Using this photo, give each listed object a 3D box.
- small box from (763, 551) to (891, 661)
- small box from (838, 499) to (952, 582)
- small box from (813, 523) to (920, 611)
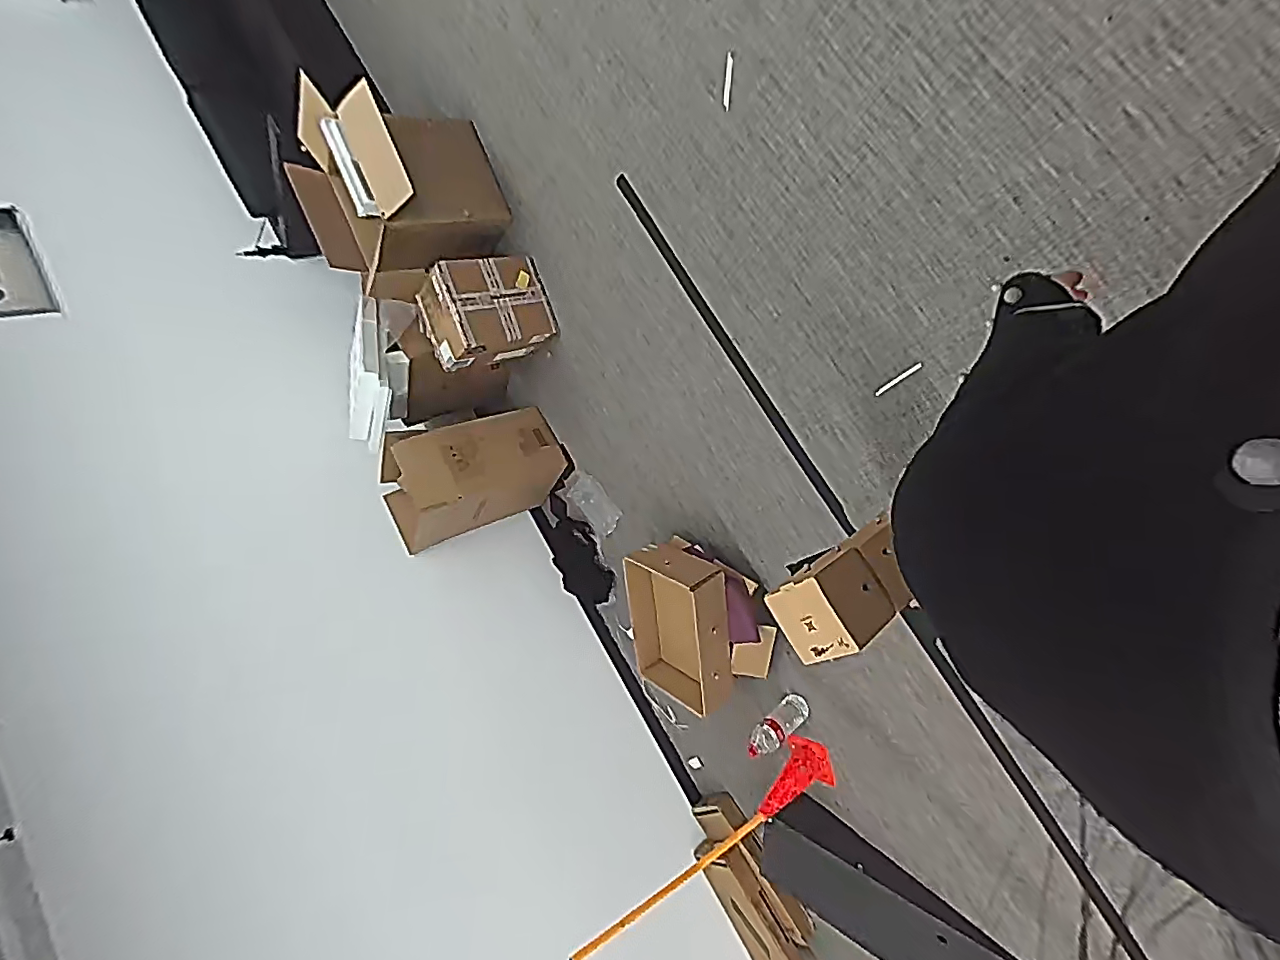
[{"bbox_3d":[0.417,0.275,1.208,0.179,0.176,0.168,60,142,10],"label":"small box"},{"bbox_3d":[0.661,0.173,1.399,0.168,0.176,0.179,60,142,9],"label":"small box"},{"bbox_3d":[0.540,0.224,1.303,0.168,0.176,0.179,60,143,10],"label":"small box"}]
